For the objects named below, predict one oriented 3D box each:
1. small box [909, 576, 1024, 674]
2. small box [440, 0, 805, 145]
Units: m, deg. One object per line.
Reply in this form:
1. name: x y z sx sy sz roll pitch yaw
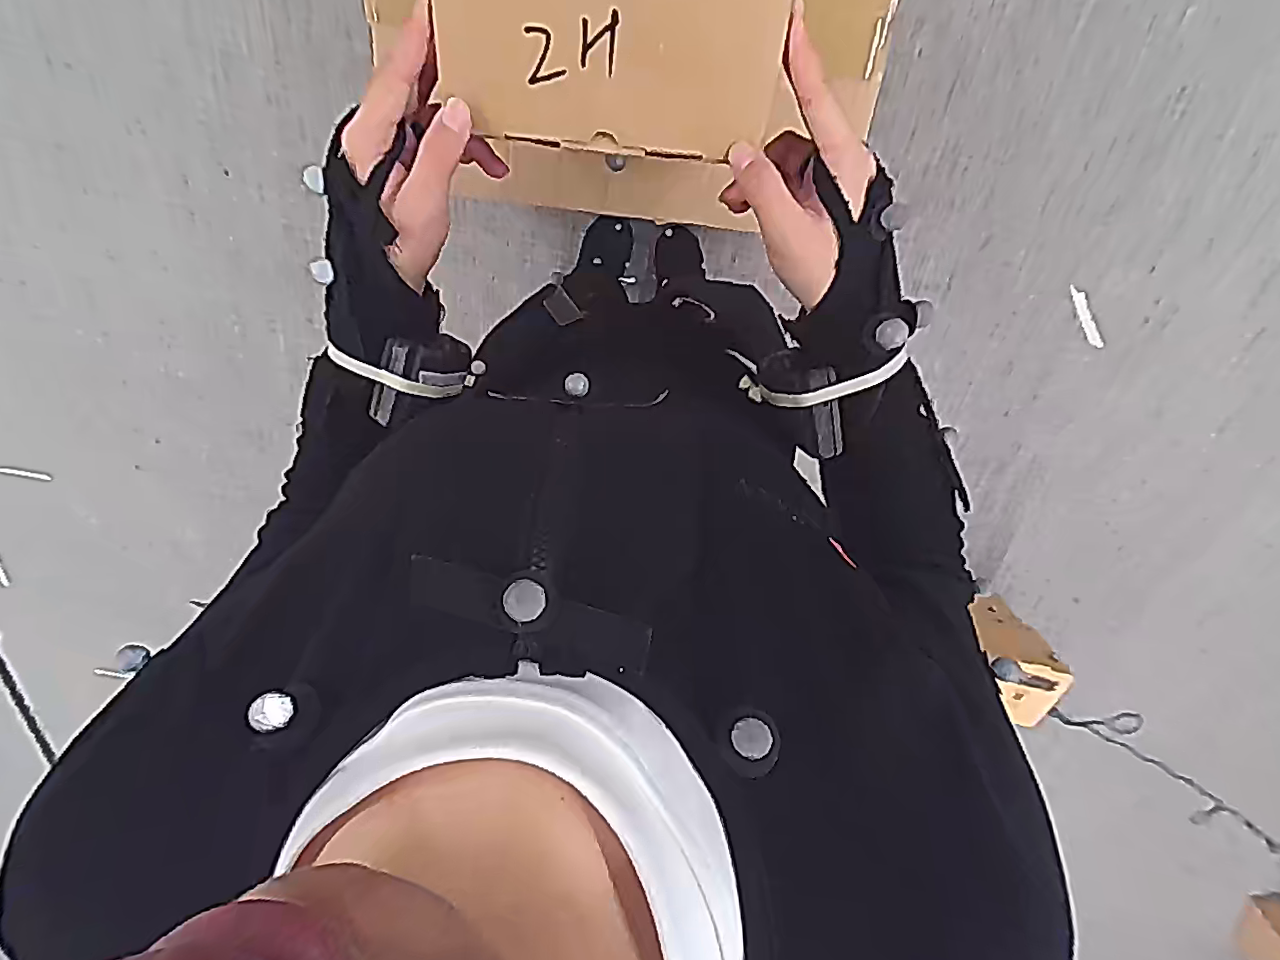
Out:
1. small box: 0.872 0.385 1.461 0.179 0.176 0.168 17 115 -2
2. small box: 0.000 -0.291 0.288 0.168 0.176 0.179 7 123 -1
